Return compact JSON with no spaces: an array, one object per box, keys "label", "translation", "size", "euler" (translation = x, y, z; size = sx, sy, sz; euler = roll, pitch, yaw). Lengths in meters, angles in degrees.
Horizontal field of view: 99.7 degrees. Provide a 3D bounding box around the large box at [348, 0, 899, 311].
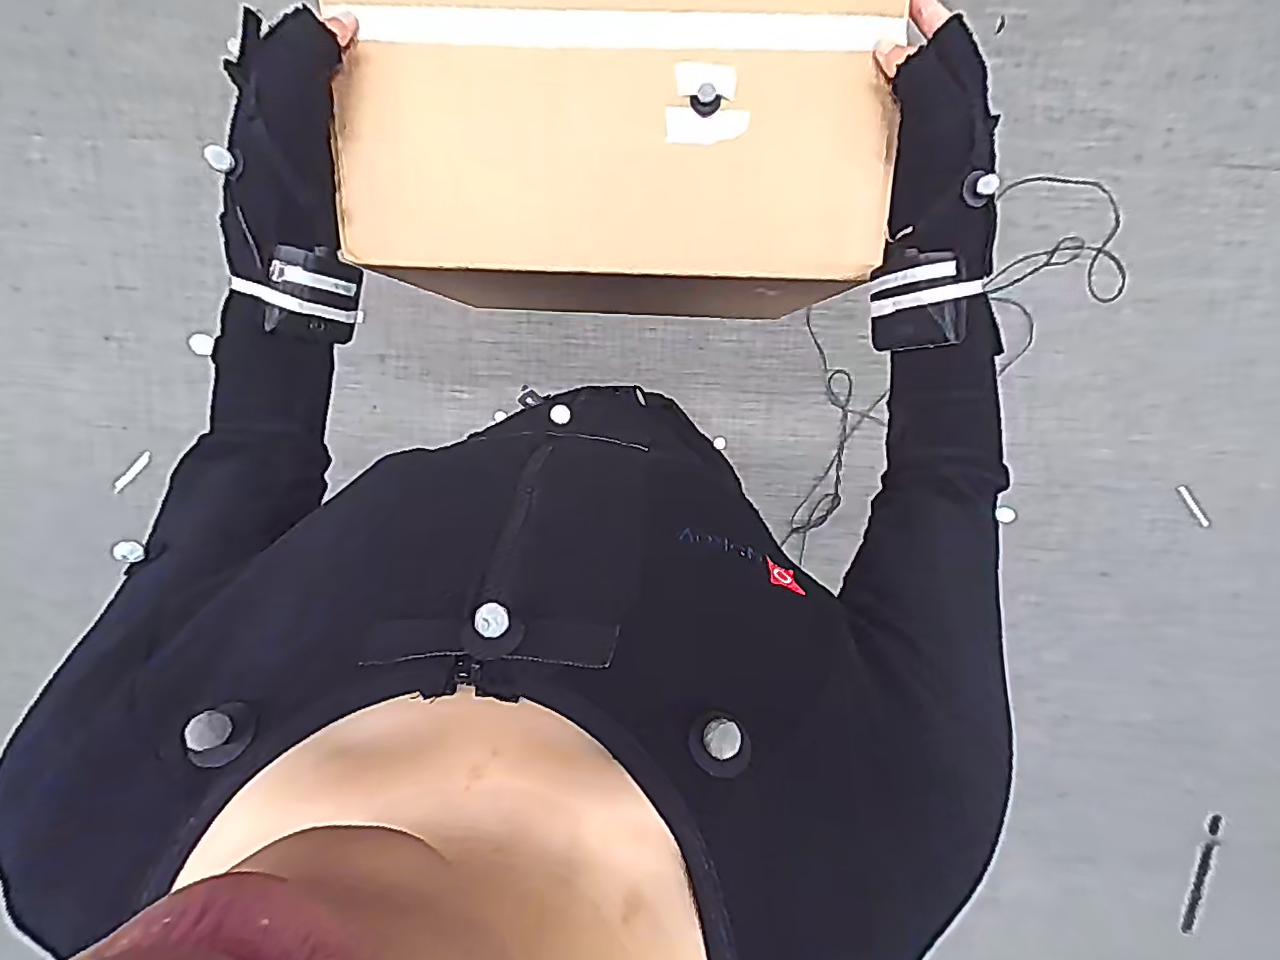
[{"label":"large box","translation":[-0.014,-0.347,0.538],"size":[0.408,0.320,0.320],"euler":[2,102,0]}]
